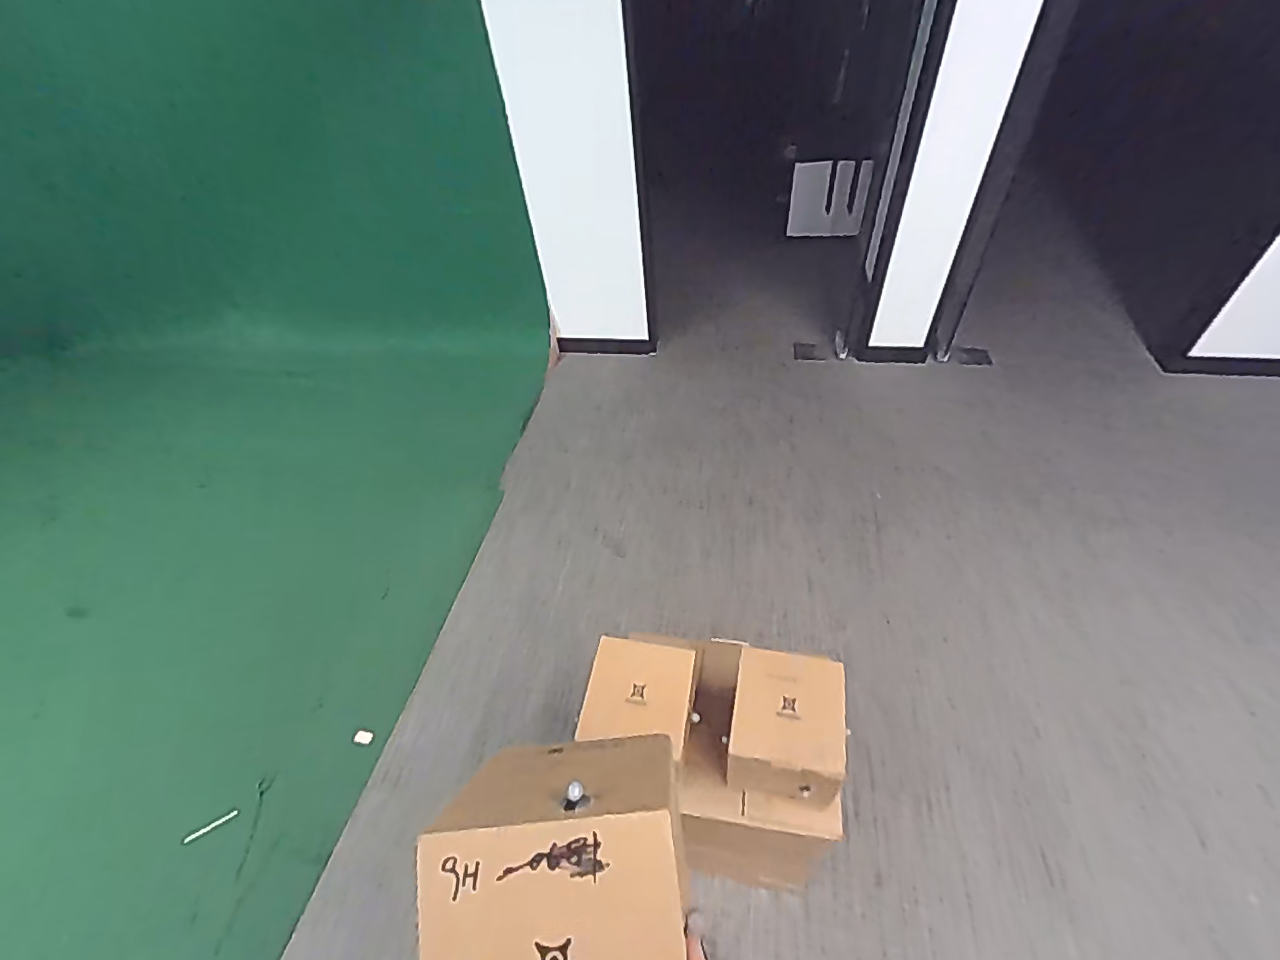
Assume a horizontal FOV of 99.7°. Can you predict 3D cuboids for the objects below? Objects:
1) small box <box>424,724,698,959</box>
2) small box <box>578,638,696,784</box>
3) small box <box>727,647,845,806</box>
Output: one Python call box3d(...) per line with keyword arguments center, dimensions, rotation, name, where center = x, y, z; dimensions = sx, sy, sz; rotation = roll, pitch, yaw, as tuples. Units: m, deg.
box3d(center=(-0.045, 0.308, 0.412), dimensions=(0.168, 0.176, 0.179), rotation=(-8, 80, 1), name="small box")
box3d(center=(0.002, 0.396, 0.918), dimensions=(0.168, 0.176, 0.179), rotation=(6, 50, 10), name="small box")
box3d(center=(0.236, 0.404, 0.881), dimensions=(0.168, 0.176, 0.179), rotation=(6, 47, 14), name="small box")
